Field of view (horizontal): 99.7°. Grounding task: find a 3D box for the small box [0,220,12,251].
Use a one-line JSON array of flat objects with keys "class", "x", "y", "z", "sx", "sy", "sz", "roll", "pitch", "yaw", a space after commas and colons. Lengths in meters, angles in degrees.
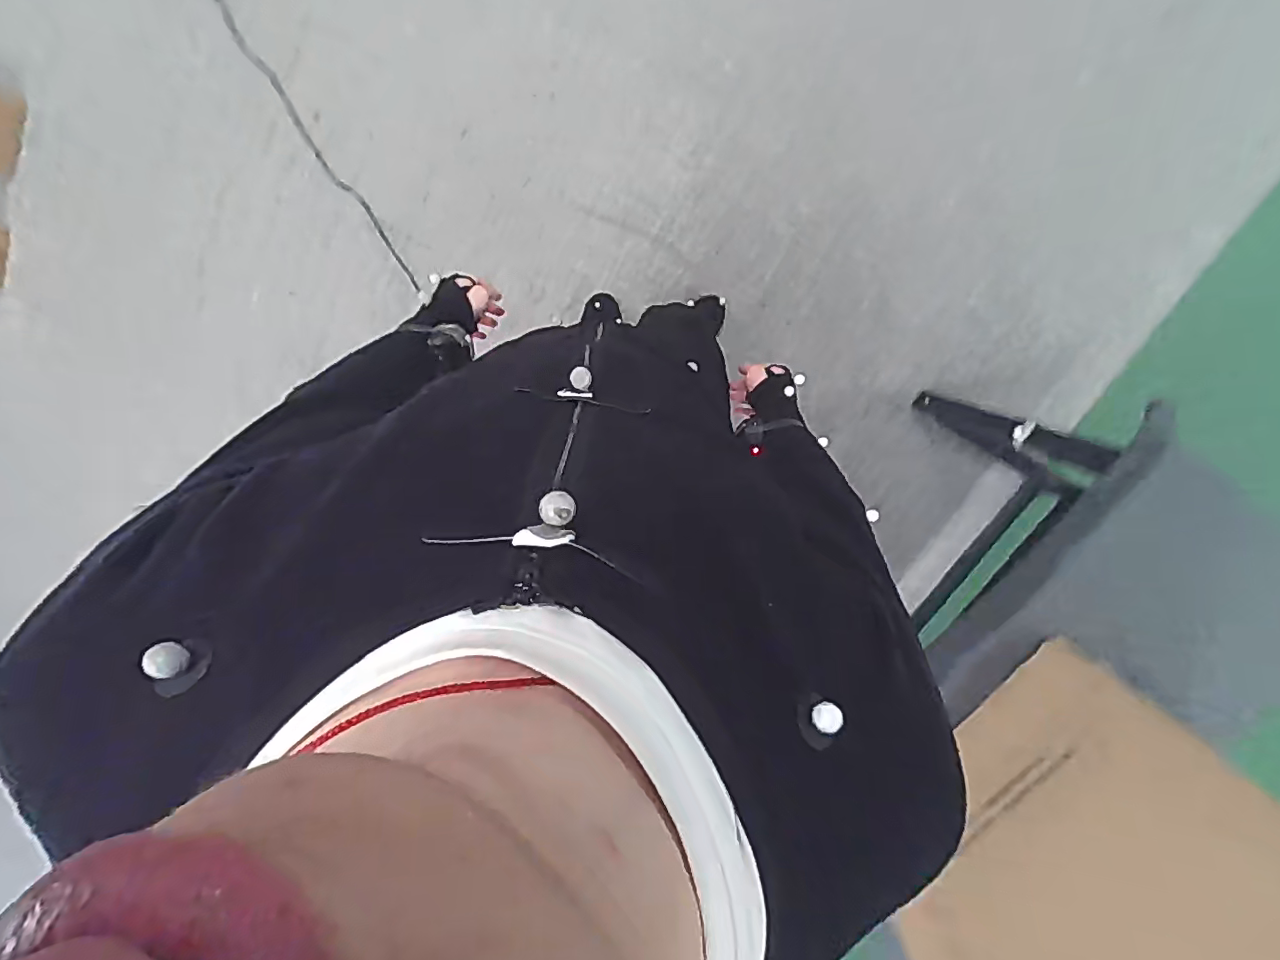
[{"class": "small box", "x": -1.631, "y": -0.616, "z": 1.237, "sx": 0.168, "sy": 0.176, "sz": 0.179, "roll": -3, "pitch": 111, "yaw": 1}]
